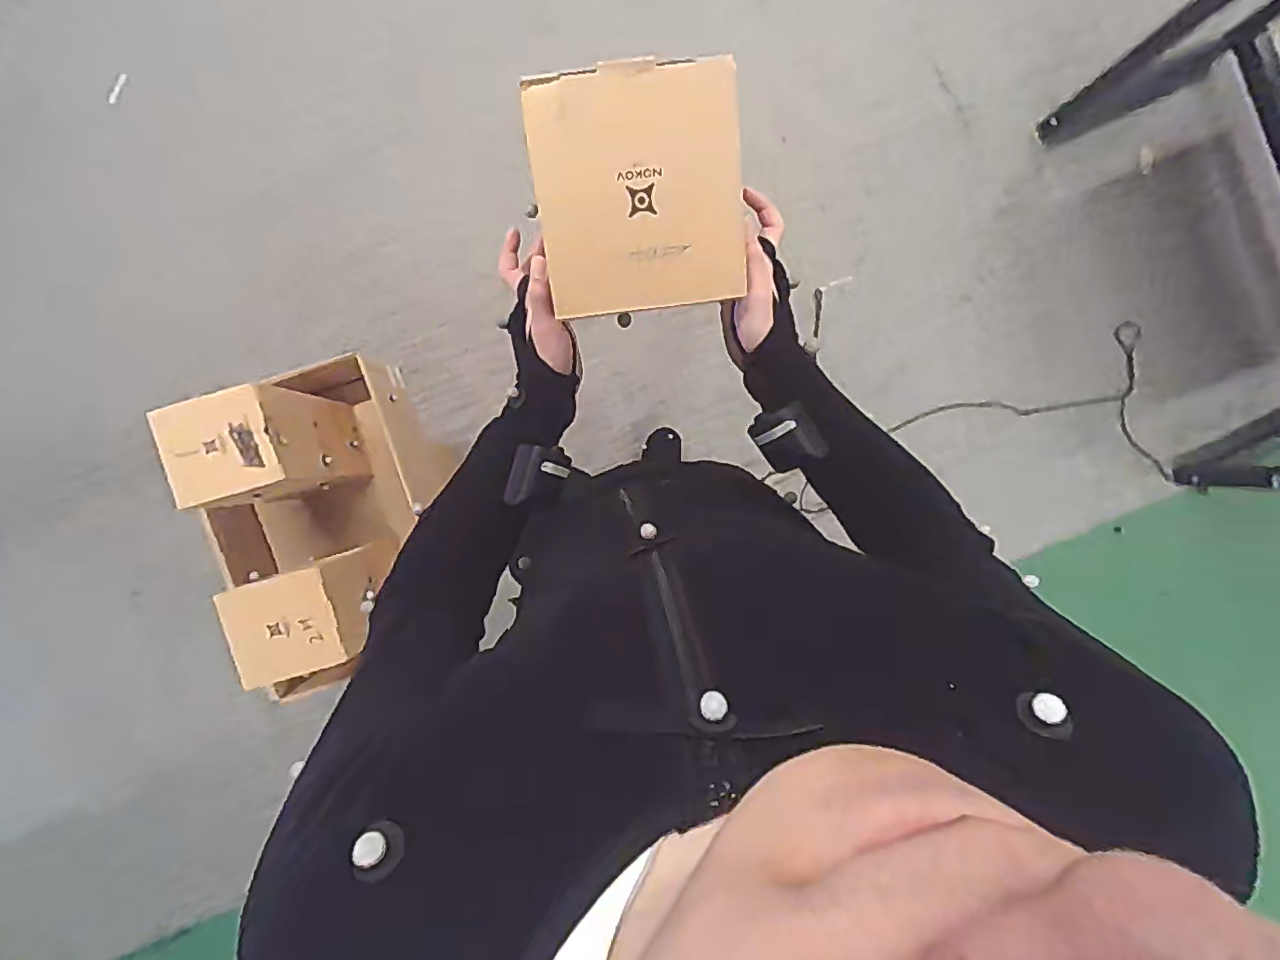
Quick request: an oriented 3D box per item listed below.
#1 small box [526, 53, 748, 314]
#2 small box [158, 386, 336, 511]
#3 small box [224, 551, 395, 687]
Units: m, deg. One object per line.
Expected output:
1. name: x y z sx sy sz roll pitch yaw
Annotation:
1. small box: -0.003 -0.253 0.501 0.168 0.176 0.179 -7 110 -1
2. small box: -0.669 -0.054 0.949 0.179 0.176 0.168 -17 91 0
3. small box: -0.573 0.236 0.959 0.179 0.176 0.168 -16 93 0
